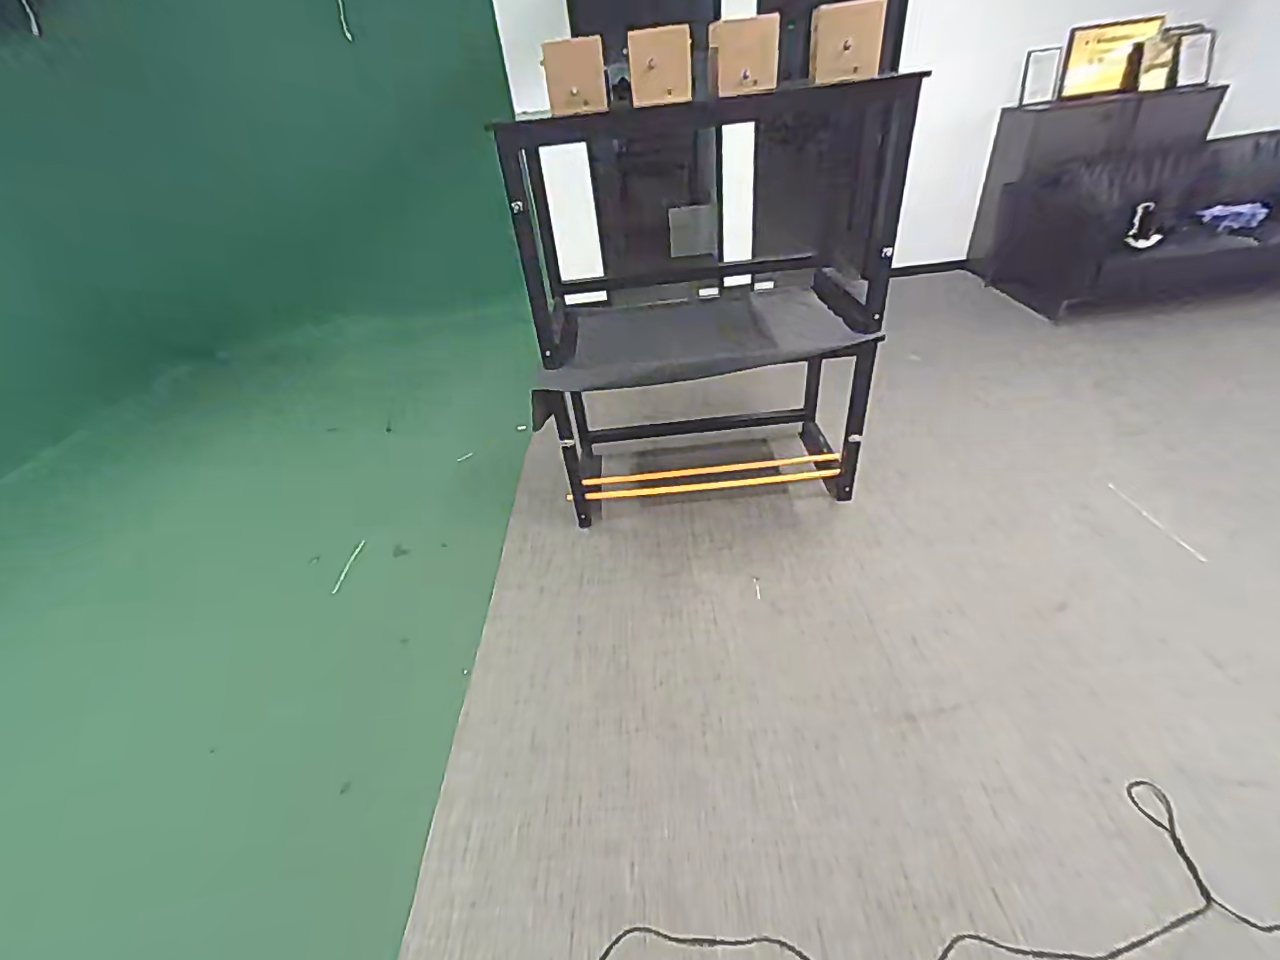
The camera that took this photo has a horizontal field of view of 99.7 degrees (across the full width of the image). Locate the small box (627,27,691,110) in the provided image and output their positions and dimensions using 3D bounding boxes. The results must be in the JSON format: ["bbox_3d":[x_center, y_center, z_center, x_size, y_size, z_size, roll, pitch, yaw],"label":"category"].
[{"bbox_3d":[0.056,-1.179,1.559,0.168,0.176,0.179,-5,36,4],"label":"small box"}]

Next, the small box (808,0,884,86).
[{"bbox_3d":[0.568,-1.217,1.510,0.168,0.176,0.179,0,36,10],"label":"small box"}]

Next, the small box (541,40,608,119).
[{"bbox_3d":[-0.189,-1.168,1.583,0.168,0.176,0.179,-8,37,-1],"label":"small box"}]
